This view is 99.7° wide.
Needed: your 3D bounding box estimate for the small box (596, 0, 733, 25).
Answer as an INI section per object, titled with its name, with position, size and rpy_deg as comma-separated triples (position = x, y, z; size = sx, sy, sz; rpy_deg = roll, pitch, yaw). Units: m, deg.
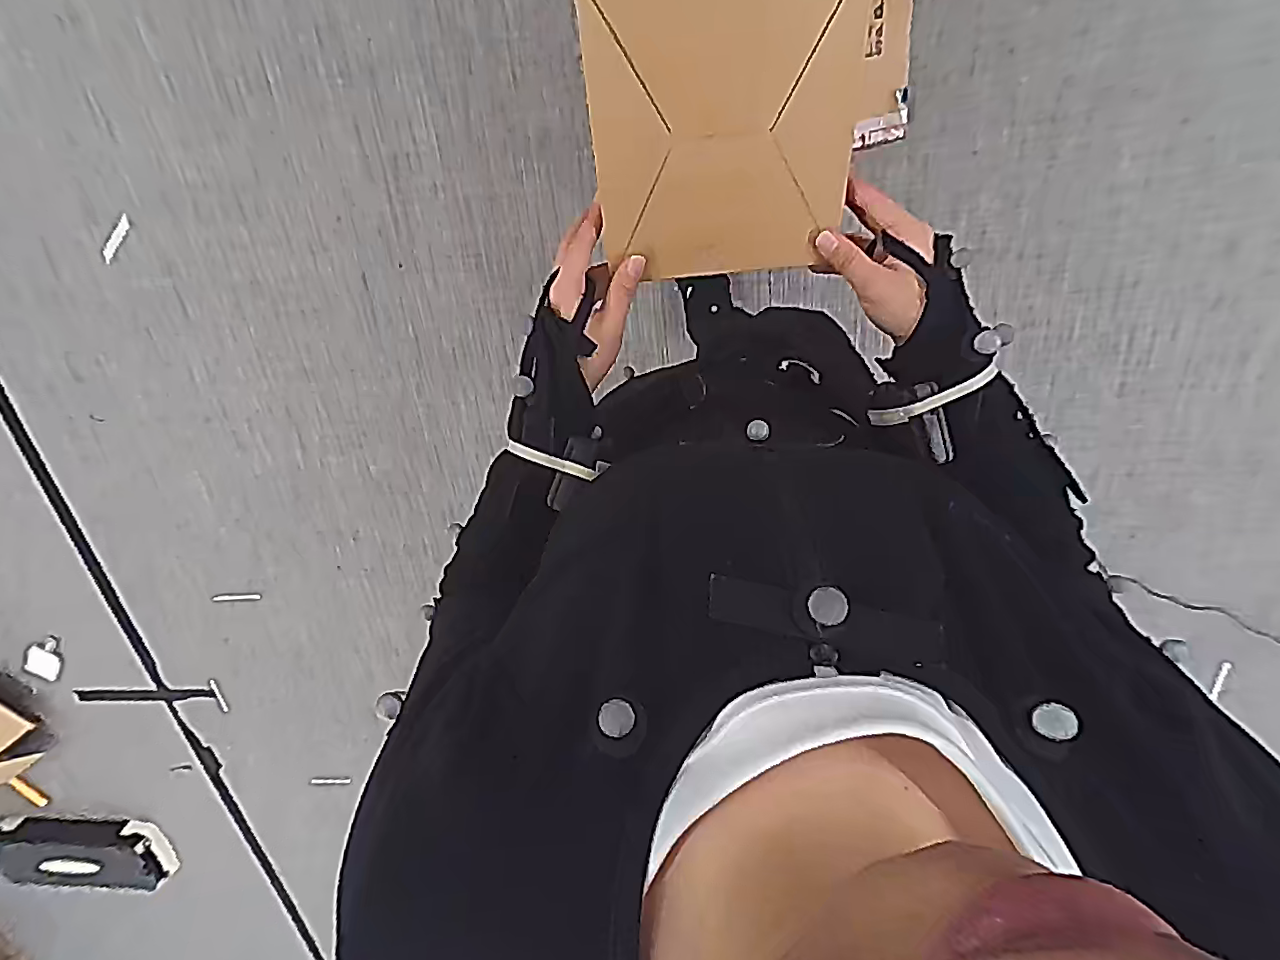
[small box]
position = 0.028, -0.613, 0.562
size = 0.179, 0.176, 0.168
rpy_deg = -3, 113, 8
